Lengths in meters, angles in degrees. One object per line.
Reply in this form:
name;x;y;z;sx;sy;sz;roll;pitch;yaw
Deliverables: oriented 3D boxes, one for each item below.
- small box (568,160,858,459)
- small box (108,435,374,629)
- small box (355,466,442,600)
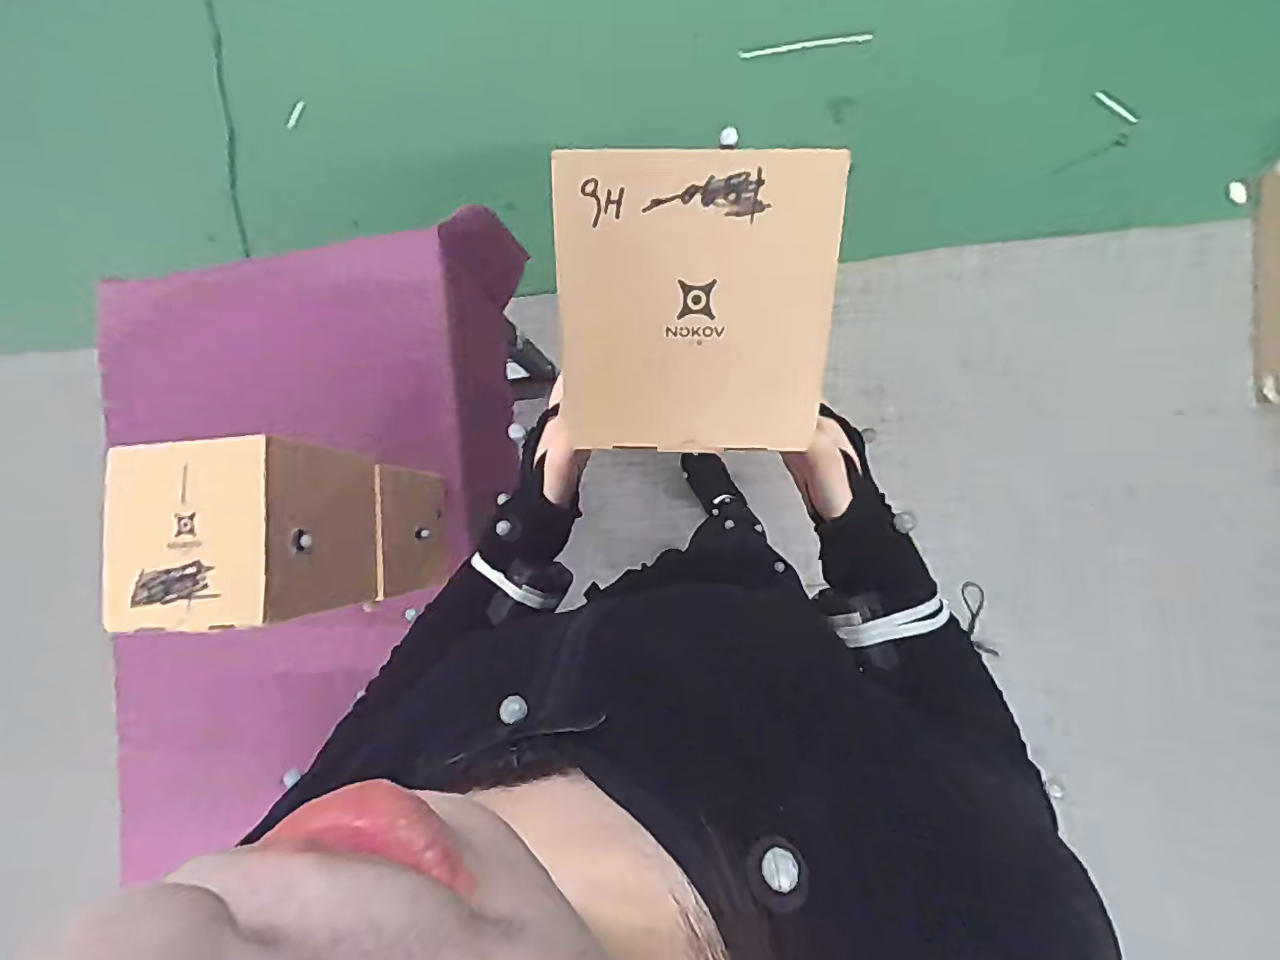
small box;0.040;-0.128;0.407;0.168;0.176;0.179;1;113;0
small box;-0.408;0.053;0.579;0.168;0.176;0.179;-4;85;6
small box;-0.386;0.072;0.741;0.179;0.176;0.168;-4;85;6
